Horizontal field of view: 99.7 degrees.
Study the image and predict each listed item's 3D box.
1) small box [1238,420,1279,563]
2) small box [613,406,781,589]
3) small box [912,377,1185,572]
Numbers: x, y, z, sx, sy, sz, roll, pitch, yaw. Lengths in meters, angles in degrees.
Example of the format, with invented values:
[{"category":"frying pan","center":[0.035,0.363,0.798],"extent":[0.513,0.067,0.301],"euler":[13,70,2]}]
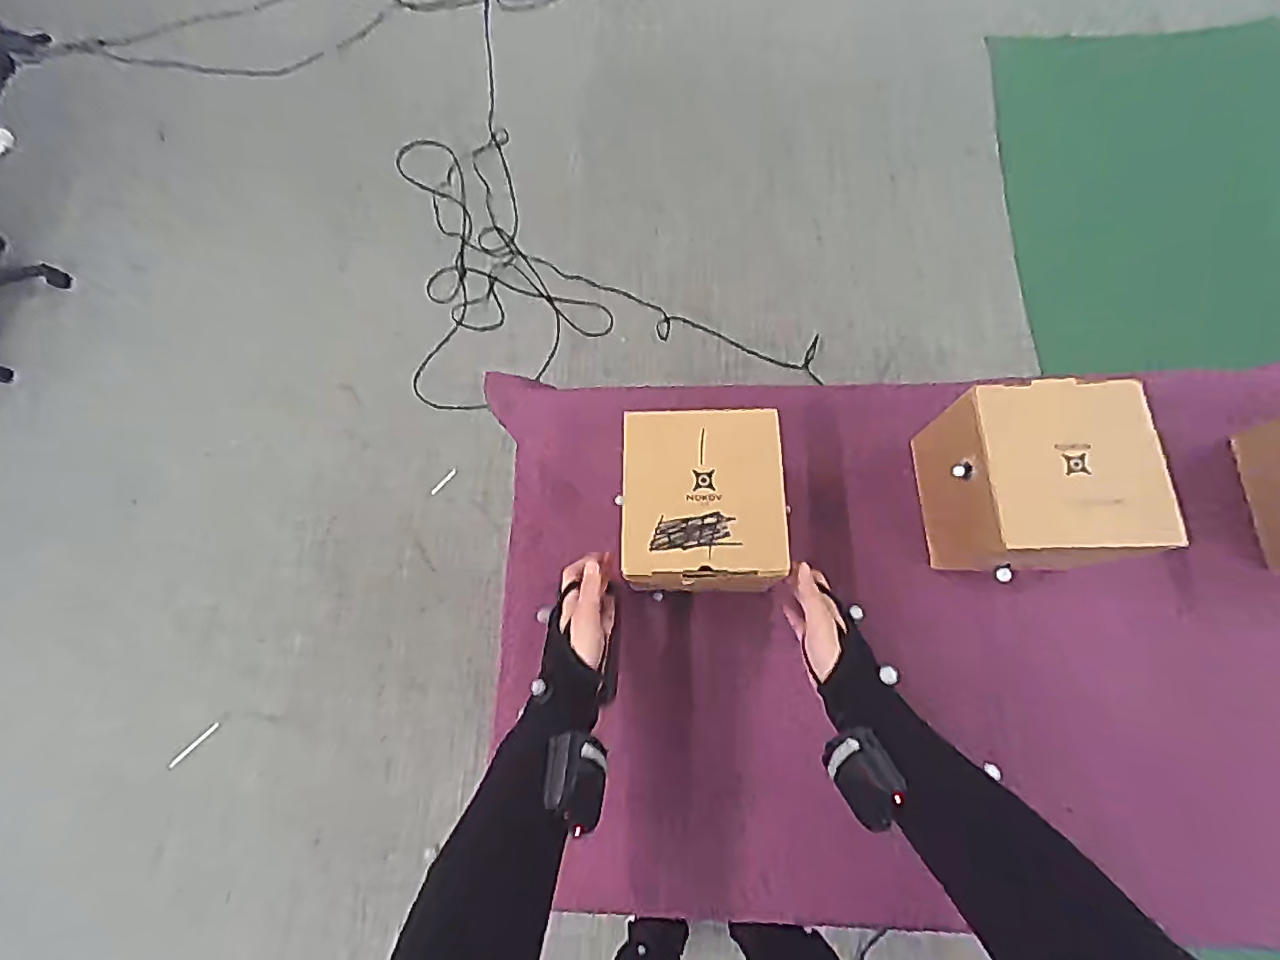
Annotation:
[{"category":"small box","center":[0.815,0.001,0.574],"extent":[0.168,0.176,0.179],"euler":[1,72,6]},{"category":"small box","center":[0.063,0.030,0.621],"extent":[0.168,0.176,0.179],"euler":[-1,71,4]},{"category":"small box","center":[0.427,0.002,0.604],"extent":[0.168,0.176,0.179],"euler":[-1,72,5]}]
